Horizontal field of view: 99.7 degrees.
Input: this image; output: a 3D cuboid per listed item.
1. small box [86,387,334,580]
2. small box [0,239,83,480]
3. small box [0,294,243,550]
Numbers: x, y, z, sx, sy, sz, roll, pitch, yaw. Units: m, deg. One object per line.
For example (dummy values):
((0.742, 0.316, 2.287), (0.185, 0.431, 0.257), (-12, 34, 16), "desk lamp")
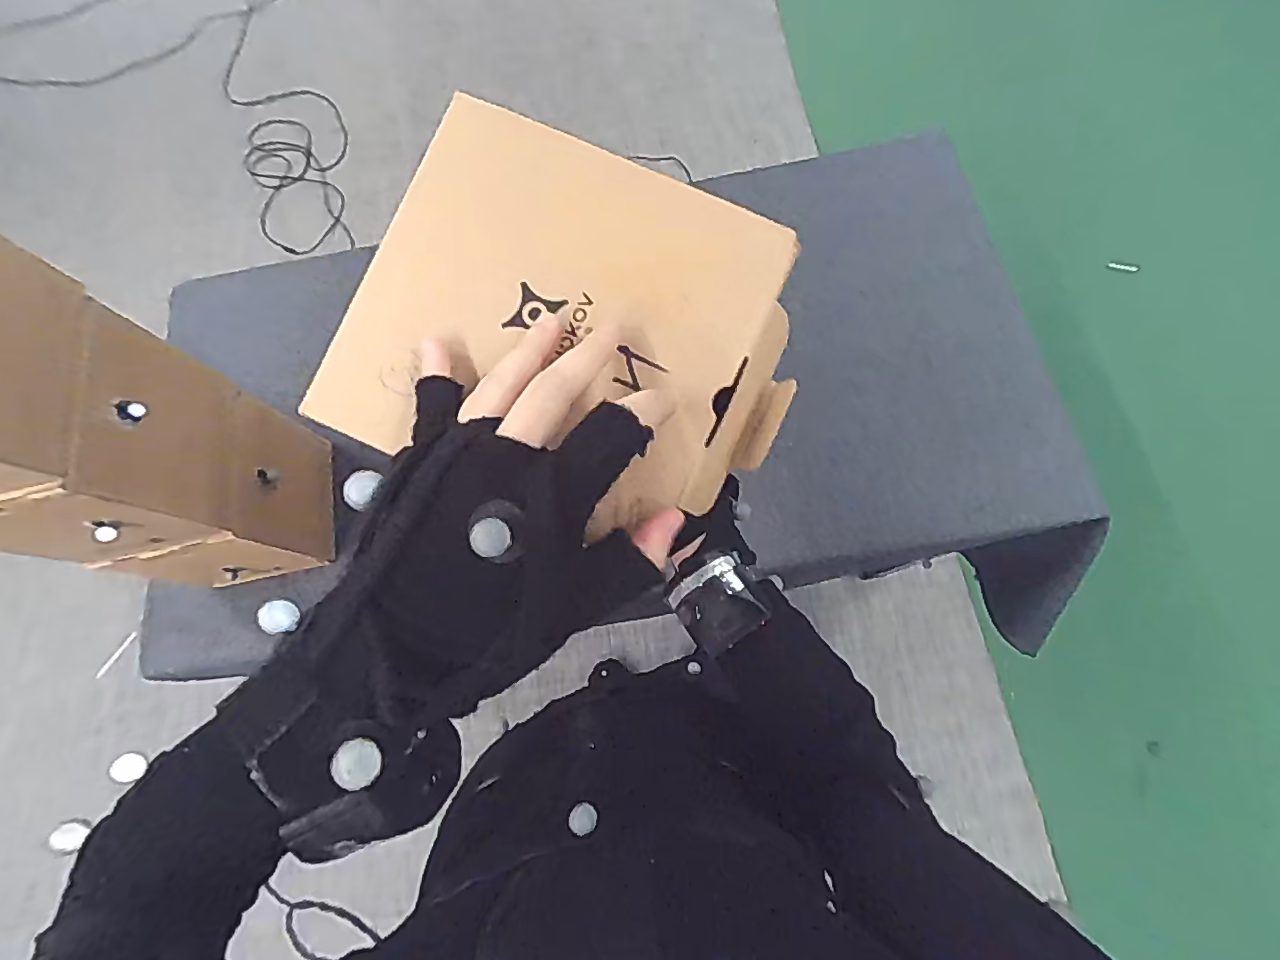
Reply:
((-0.501, 0.014, 0.659), (0.168, 0.176, 0.179), (-12, 73, 1), "small box")
((-0.527, -0.091, 0.351), (0.168, 0.176, 0.179), (-12, 72, 0), "small box")
((-0.512, -0.037, 0.505), (0.168, 0.176, 0.179), (-11, 72, 1), "small box")
